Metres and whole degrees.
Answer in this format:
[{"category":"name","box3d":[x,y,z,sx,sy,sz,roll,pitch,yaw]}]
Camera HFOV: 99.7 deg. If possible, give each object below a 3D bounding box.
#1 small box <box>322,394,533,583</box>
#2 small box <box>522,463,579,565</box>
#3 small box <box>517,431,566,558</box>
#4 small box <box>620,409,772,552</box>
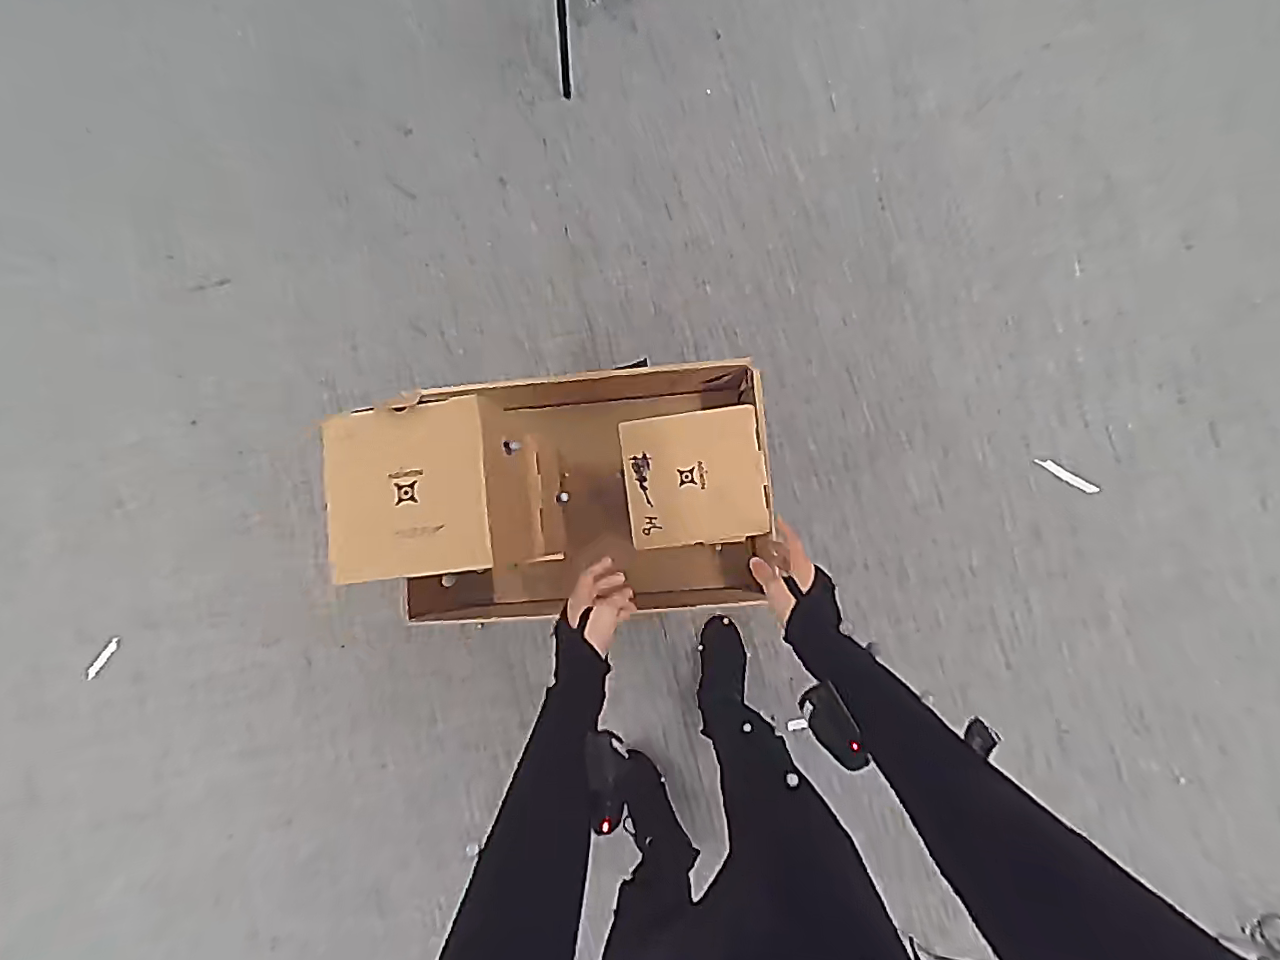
[{"category":"small box","box3d":[-0.226,0.017,0.609,0.168,0.176,0.179,-7,83,4]},{"category":"small box","box3d":[-0.204,0.056,0.935,0.168,0.176,0.179,-6,84,2]},{"category":"small box","box3d":[-0.211,0.032,0.772,0.179,0.176,0.168,-5,84,2]},{"category":"small box","box3d":[0.071,0.006,0.752,0.179,0.176,0.168,-7,84,3]}]
